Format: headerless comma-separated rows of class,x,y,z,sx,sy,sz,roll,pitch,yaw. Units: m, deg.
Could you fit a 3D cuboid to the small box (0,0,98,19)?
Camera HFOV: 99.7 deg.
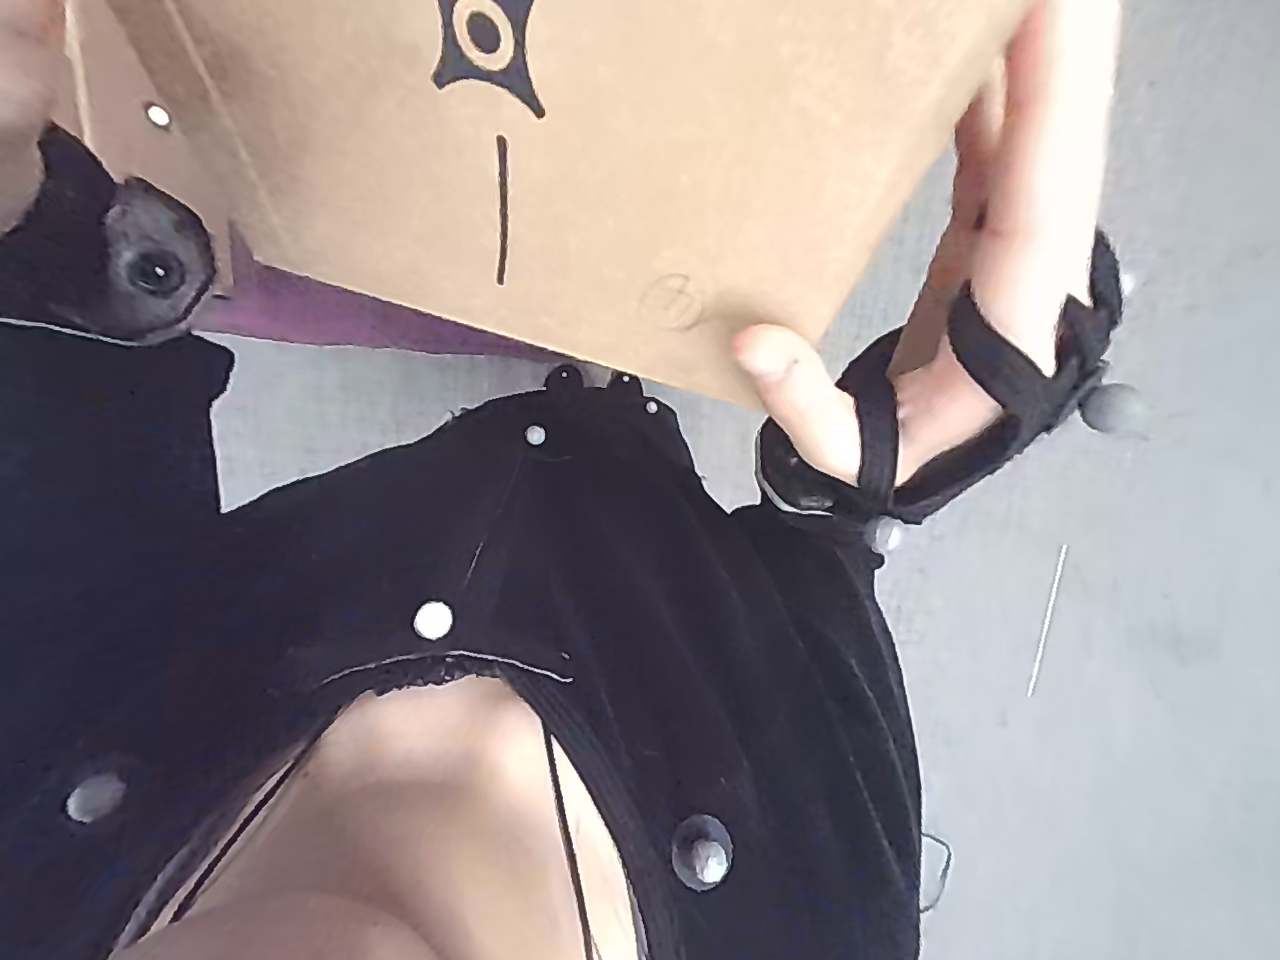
small box,-0.668,-0.574,0.501,0.168,0.176,0.179,-1,101,-1

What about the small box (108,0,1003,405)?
small box,-0.008,-0.154,0.138,0.168,0.179,0.176,16,61,-2
